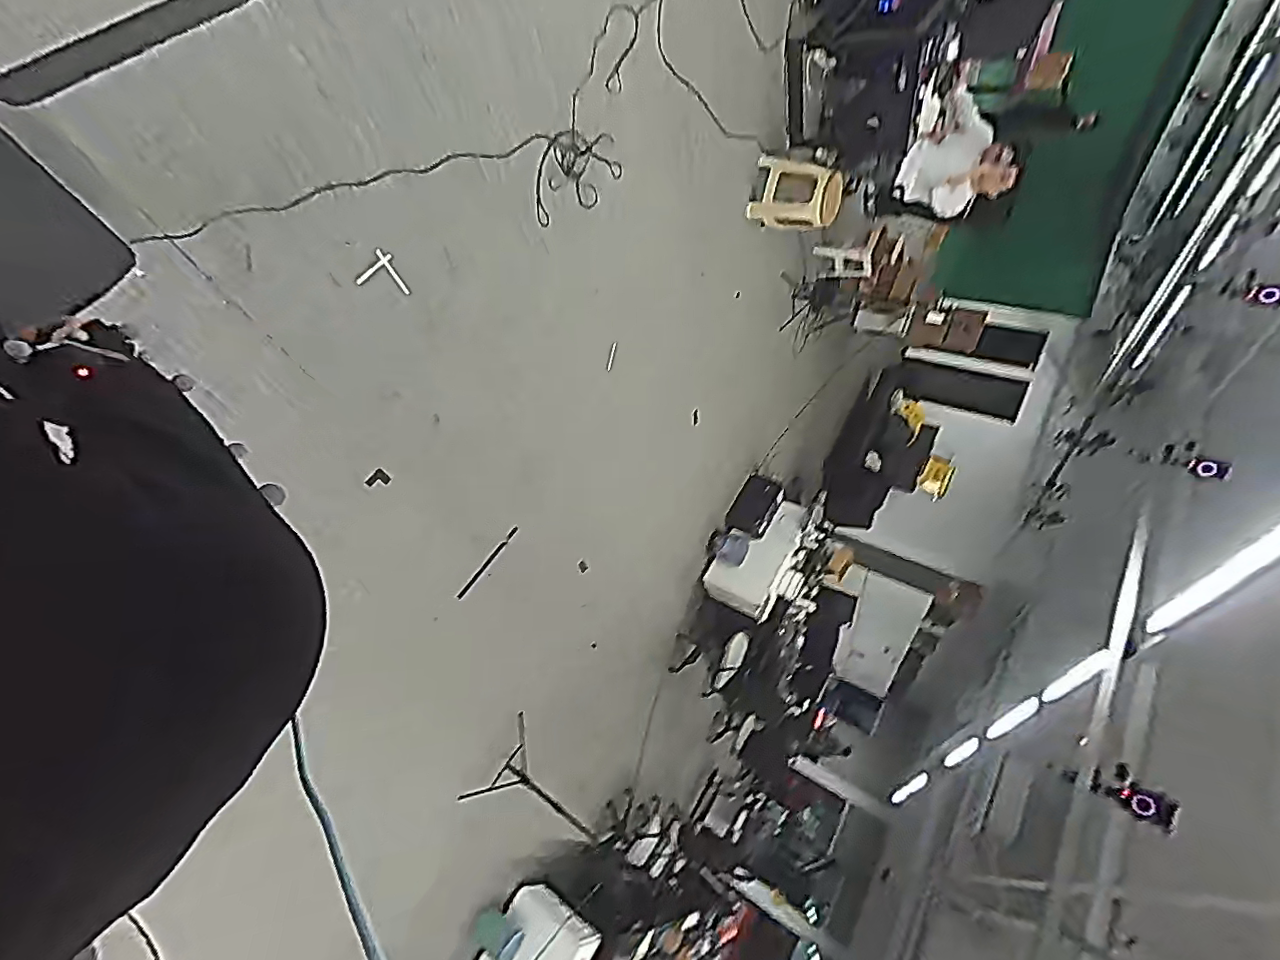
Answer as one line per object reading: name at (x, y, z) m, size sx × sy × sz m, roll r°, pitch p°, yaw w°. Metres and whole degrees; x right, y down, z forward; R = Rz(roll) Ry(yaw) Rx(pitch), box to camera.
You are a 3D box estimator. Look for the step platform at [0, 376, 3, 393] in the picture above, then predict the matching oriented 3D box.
step platform at (-1.304, -0.290, 0.689) m, size 0.286 × 0.204 × 0.684 m, roll -53°, pitch 145°, yaw -27°
